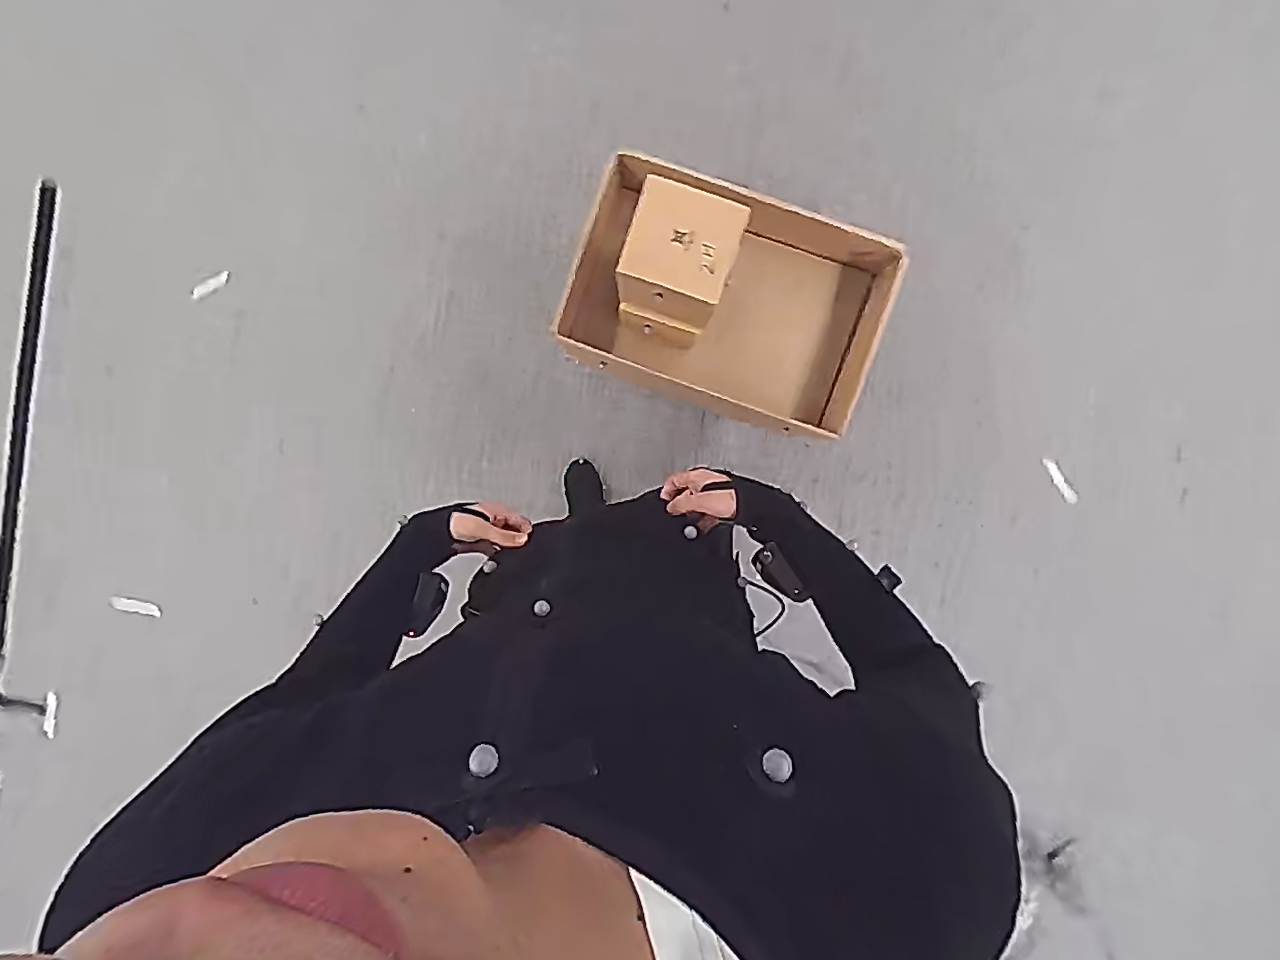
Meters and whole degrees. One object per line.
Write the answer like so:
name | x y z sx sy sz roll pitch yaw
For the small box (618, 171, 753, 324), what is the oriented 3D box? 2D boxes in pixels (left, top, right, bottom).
small box | 0.072 -0.389 0.937 0.179 0.176 0.168 20 93 -1

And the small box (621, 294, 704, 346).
small box | 0.067 -0.390 1.102 0.168 0.176 0.179 18 92 -1
